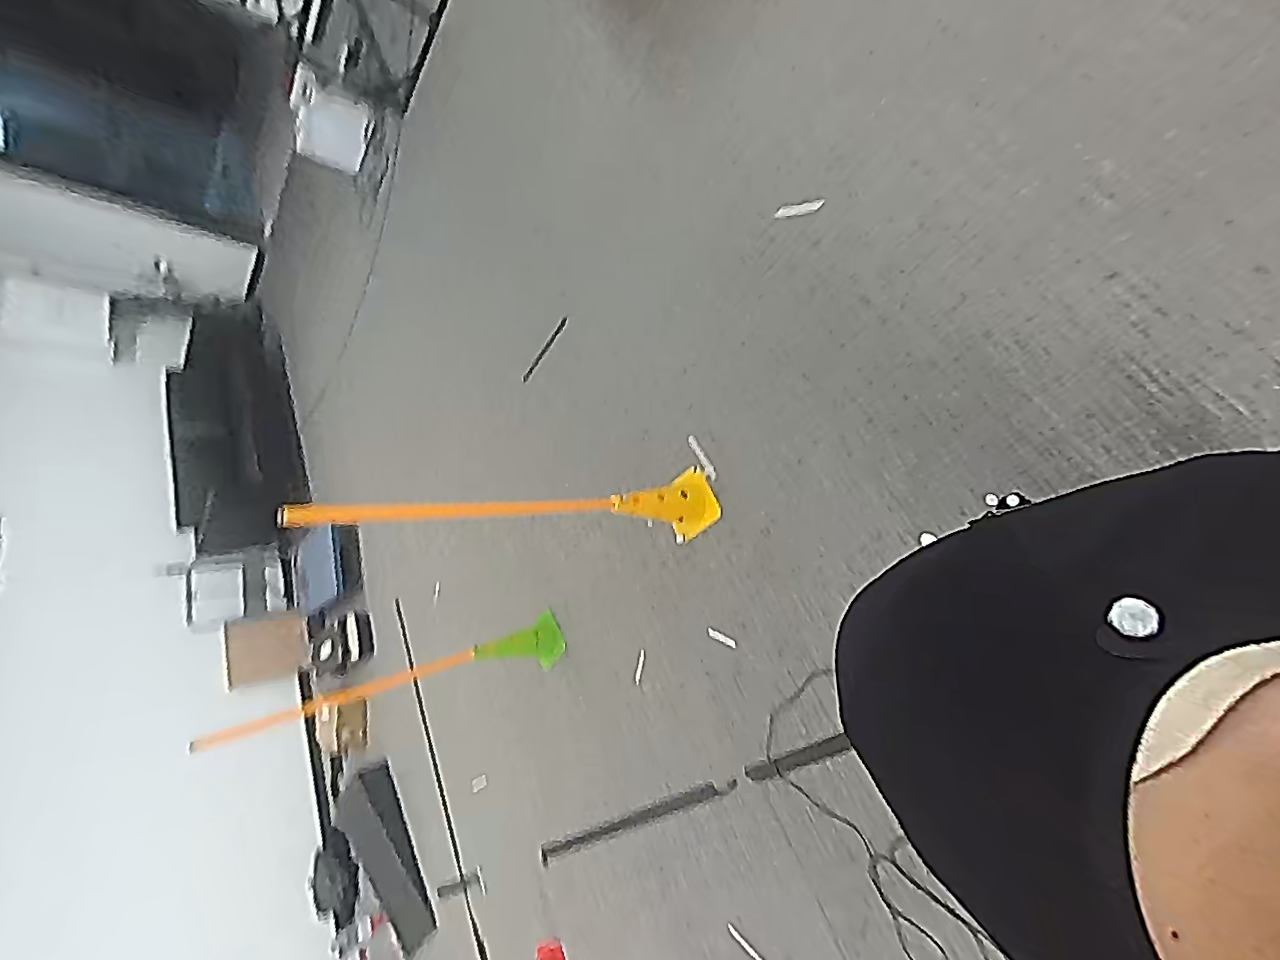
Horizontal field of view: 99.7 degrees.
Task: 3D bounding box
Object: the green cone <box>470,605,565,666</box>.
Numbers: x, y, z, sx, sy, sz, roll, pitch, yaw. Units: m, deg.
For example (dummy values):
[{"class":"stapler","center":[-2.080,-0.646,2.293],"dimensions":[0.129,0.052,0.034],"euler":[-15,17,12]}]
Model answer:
[{"class":"green cone","center":[-0.522,0.661,2.198],"dimensions":[0.202,0.368,0.200],"euler":[-53,55,26]}]
